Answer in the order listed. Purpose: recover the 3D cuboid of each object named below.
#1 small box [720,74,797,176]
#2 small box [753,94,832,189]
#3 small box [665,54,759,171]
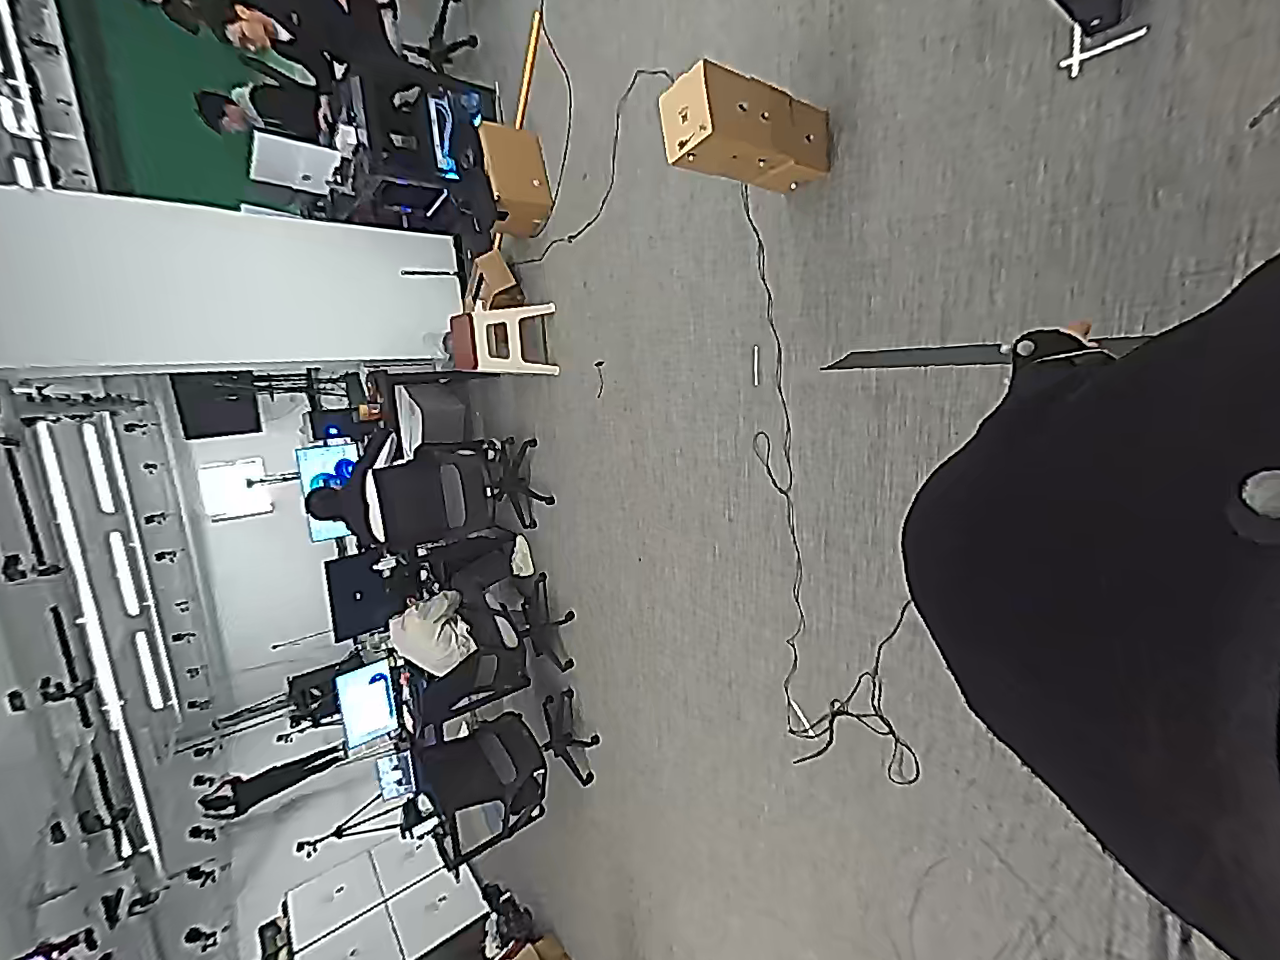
[{"bbox_3d":[0.317,-0.967,1.497,0.168,0.176,0.179,1,98,52],"label":"small box"},{"bbox_3d":[0.447,-0.986,1.592,0.168,0.176,0.179,6,105,52],"label":"small box"},{"bbox_3d":[0.187,-0.937,1.400,0.168,0.176,0.179,-3,96,53],"label":"small box"}]
